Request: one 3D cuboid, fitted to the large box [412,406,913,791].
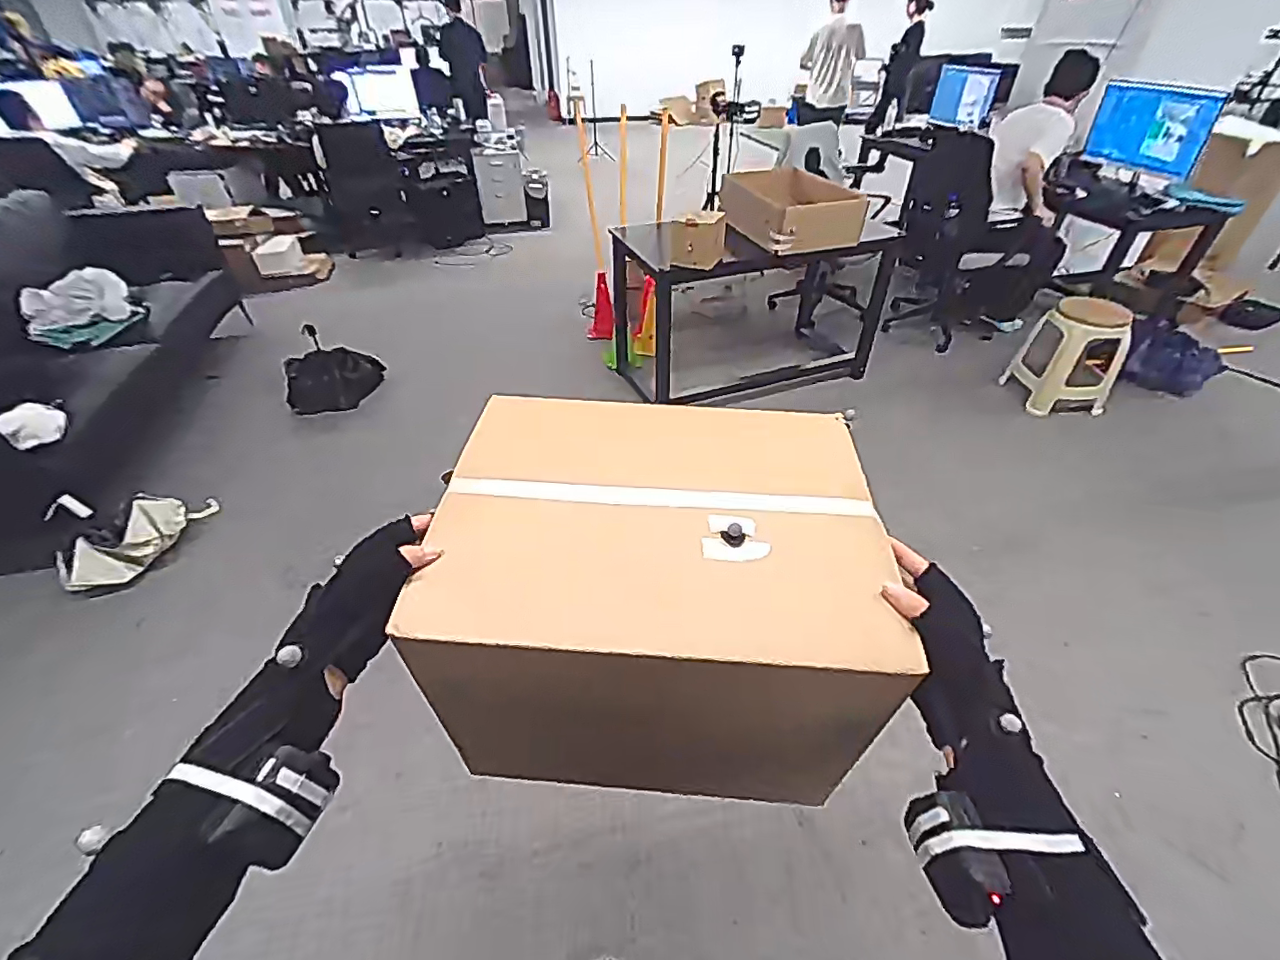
[{"bbox_3d":[0.018,0.134,0.629,0.408,0.320,0.320,4,44,2],"label":"large box"}]
